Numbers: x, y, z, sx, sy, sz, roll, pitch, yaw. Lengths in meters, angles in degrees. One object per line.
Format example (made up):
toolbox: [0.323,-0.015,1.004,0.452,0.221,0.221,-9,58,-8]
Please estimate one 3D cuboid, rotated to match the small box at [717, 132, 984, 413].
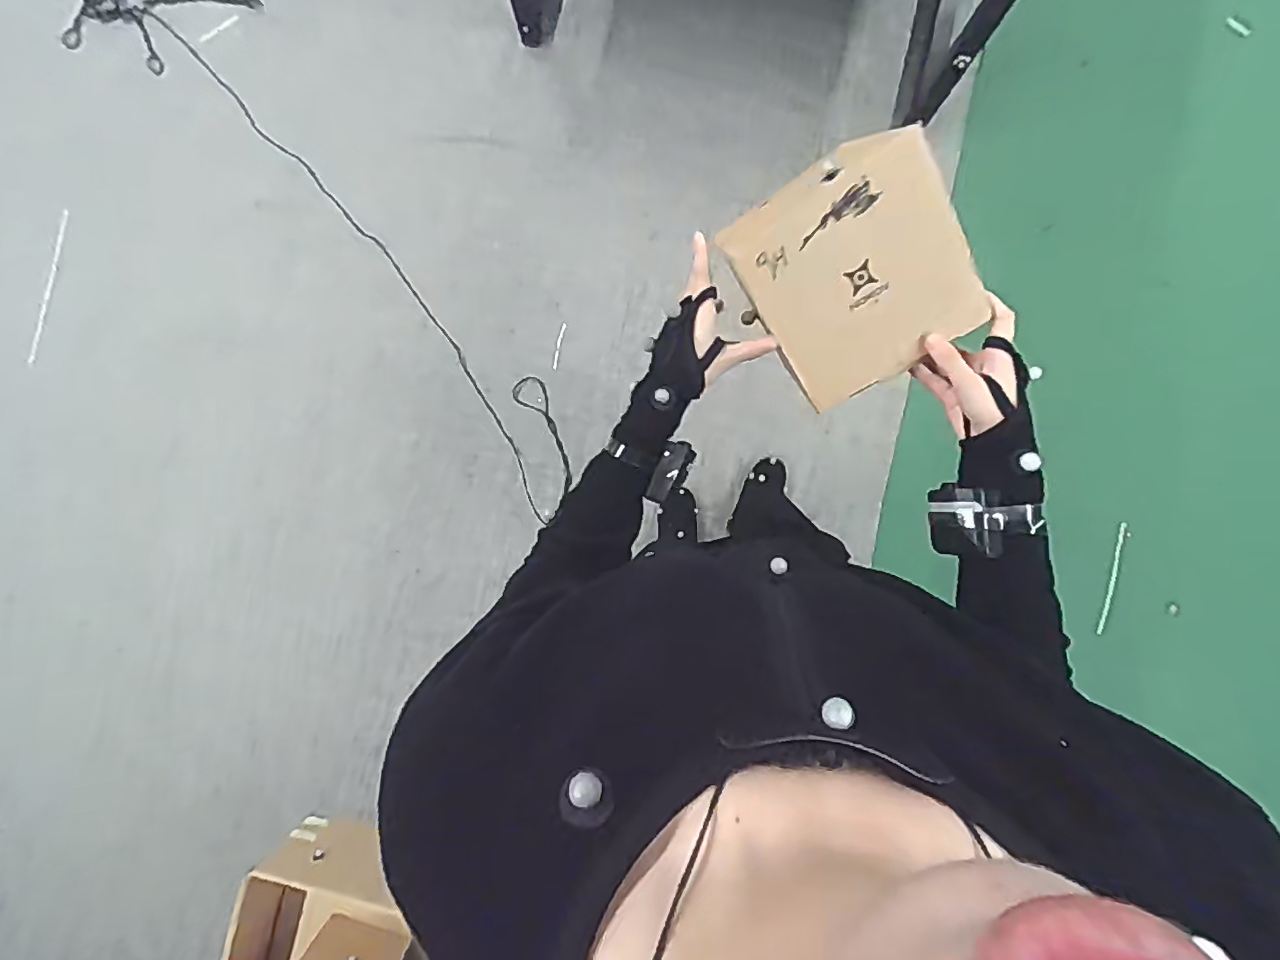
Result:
small box: [0.189,-0.201,0.528,0.168,0.176,0.179,-28,113,15]
